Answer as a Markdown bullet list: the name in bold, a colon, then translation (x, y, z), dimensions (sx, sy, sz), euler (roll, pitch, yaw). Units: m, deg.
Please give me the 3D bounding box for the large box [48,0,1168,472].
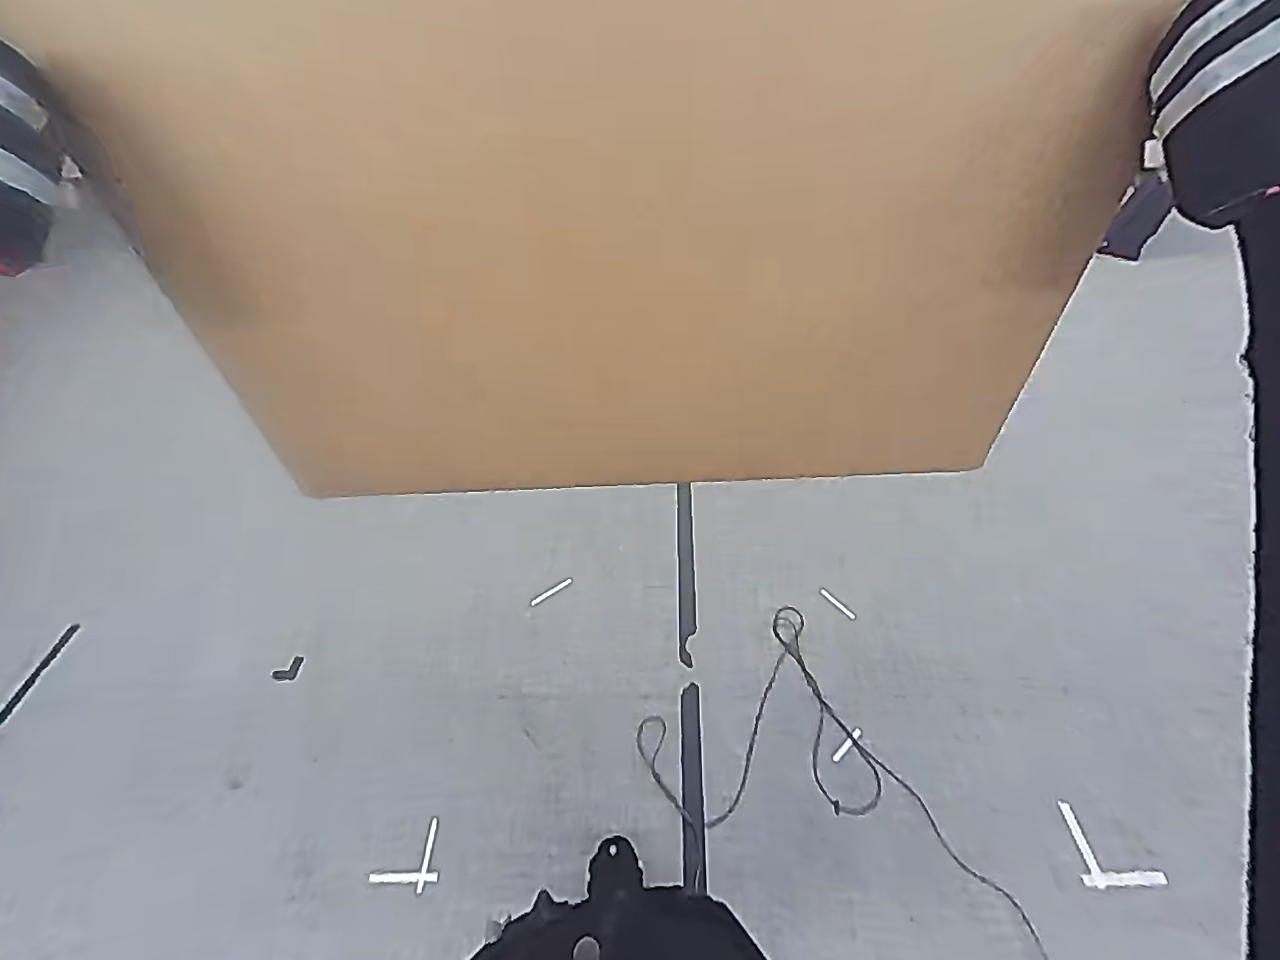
- **large box**: translation (-0.010, -0.222, 0.339), dimensions (0.408, 0.320, 0.320), euler (-2, 45, 0)
